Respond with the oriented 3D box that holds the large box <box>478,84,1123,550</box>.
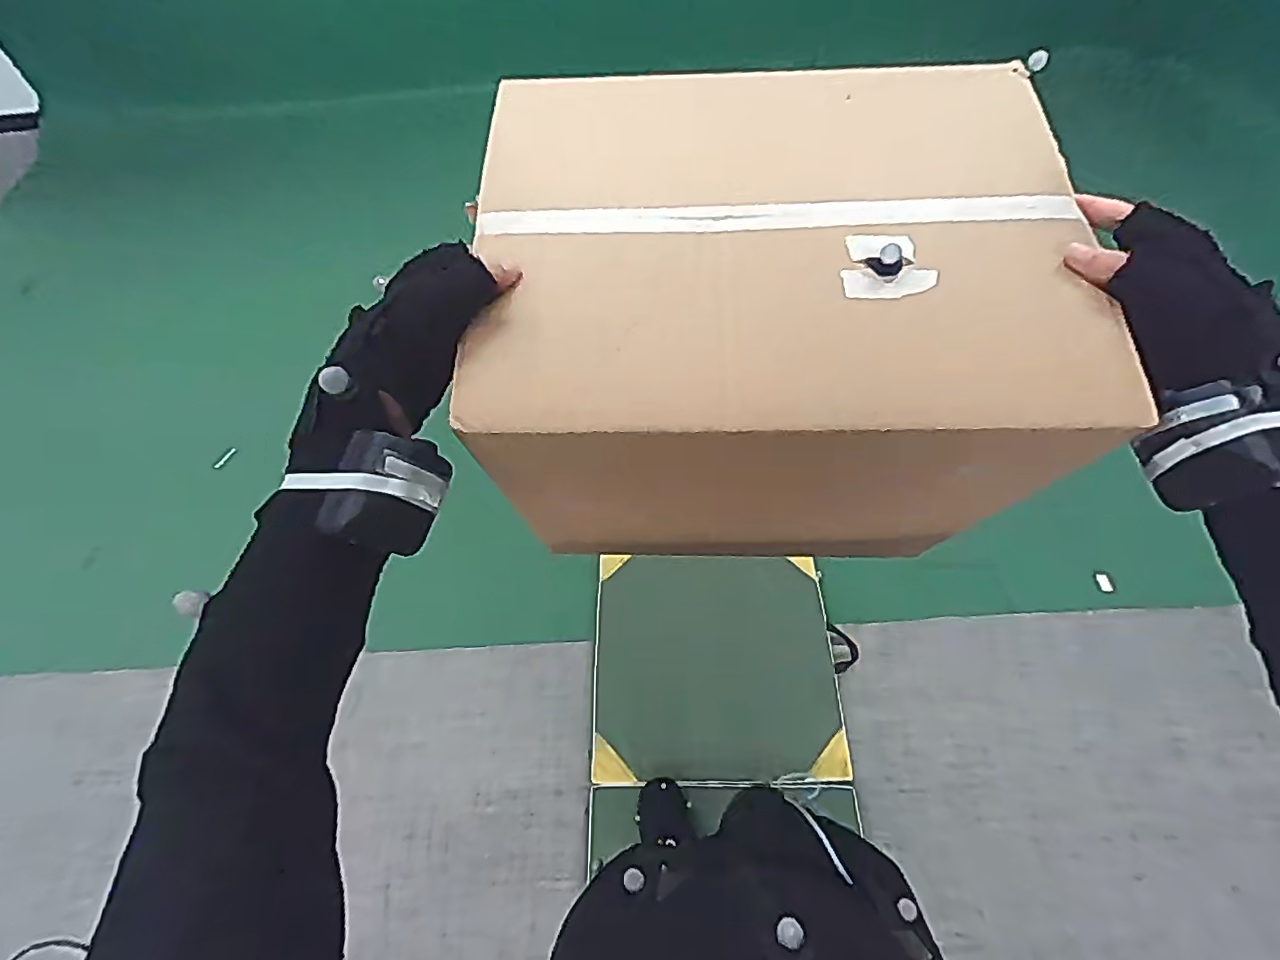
[{"bbox_3d":[0.097,-0.121,0.522,0.408,0.320,0.320,0,69,1],"label":"large box"}]
